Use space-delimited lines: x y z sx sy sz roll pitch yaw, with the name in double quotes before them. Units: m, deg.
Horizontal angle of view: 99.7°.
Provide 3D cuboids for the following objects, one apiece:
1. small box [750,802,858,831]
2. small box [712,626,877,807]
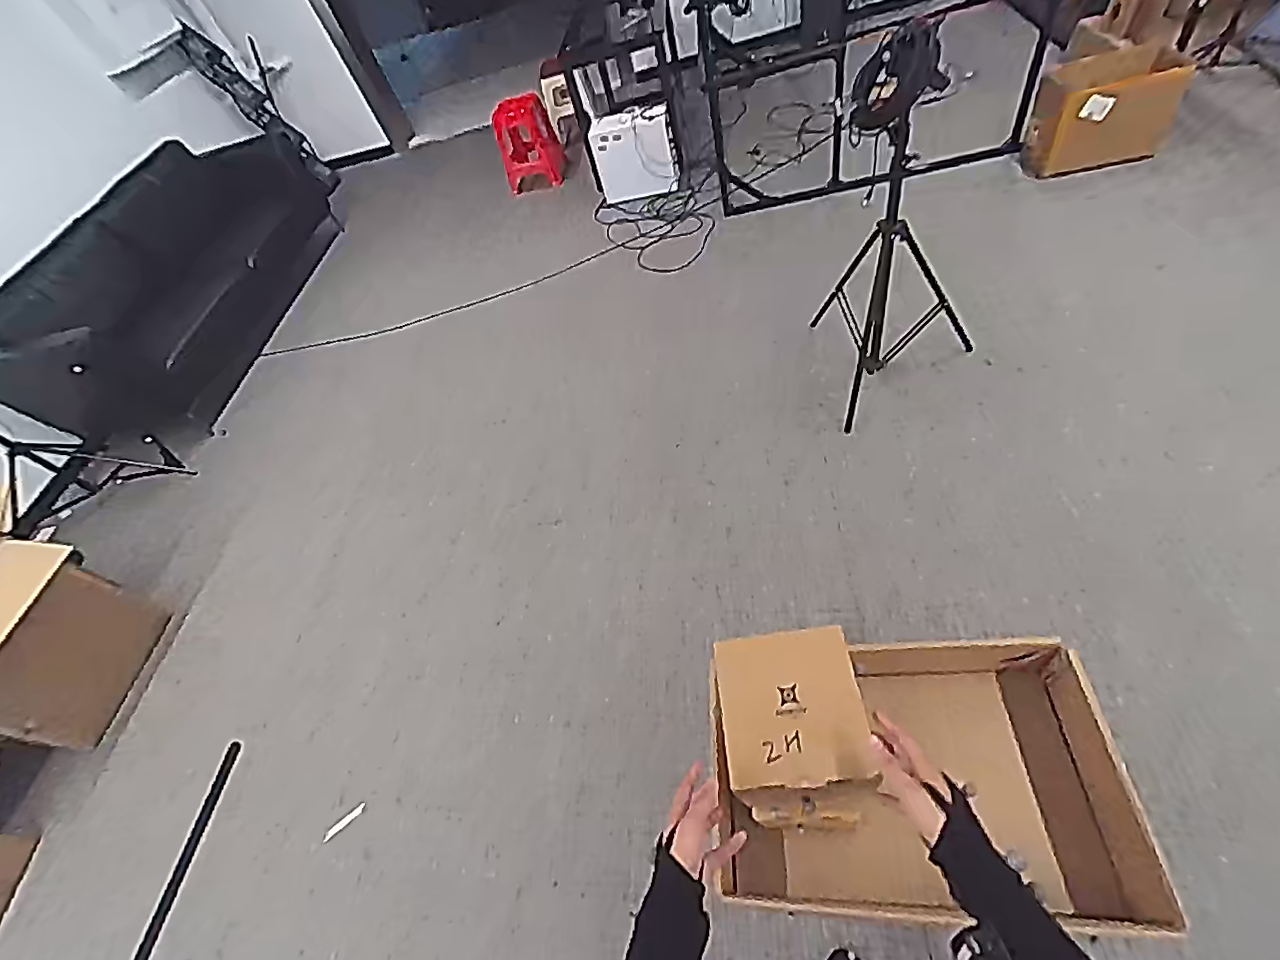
"small box" 0.279 0.507 0.955 0.168 0.176 0.179 -8 53 14
"small box" 0.194 0.312 0.704 0.168 0.176 0.179 -11 53 11
